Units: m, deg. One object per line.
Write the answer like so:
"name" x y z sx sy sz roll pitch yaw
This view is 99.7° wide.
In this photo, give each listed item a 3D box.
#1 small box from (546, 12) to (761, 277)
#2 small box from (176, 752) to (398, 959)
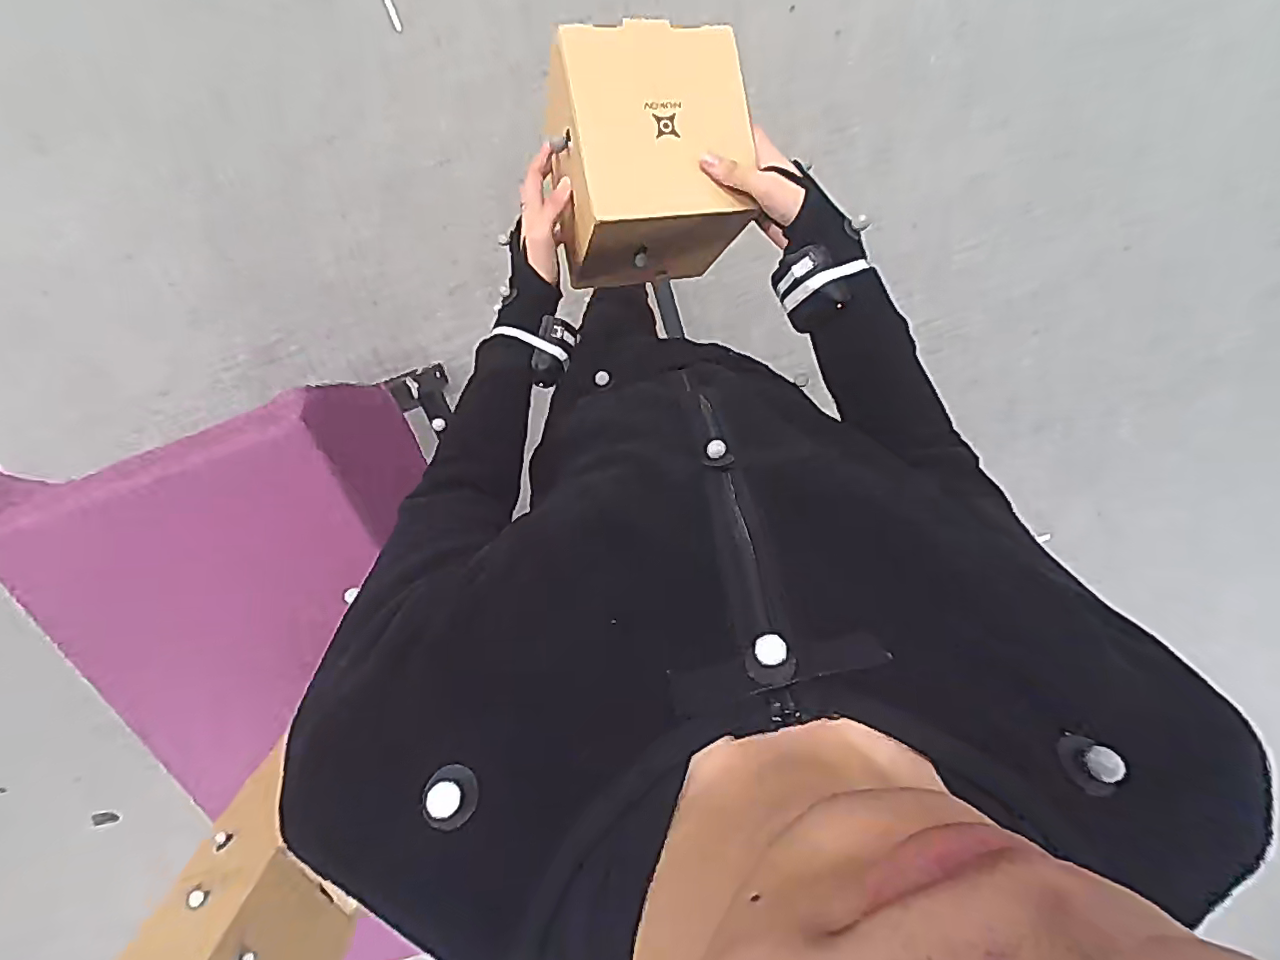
"small box" 0.002 -0.323 0.554 0.168 0.176 0.179 -12 91 -13
"small box" -0.491 0.535 0.784 0.179 0.176 0.168 -17 110 4
